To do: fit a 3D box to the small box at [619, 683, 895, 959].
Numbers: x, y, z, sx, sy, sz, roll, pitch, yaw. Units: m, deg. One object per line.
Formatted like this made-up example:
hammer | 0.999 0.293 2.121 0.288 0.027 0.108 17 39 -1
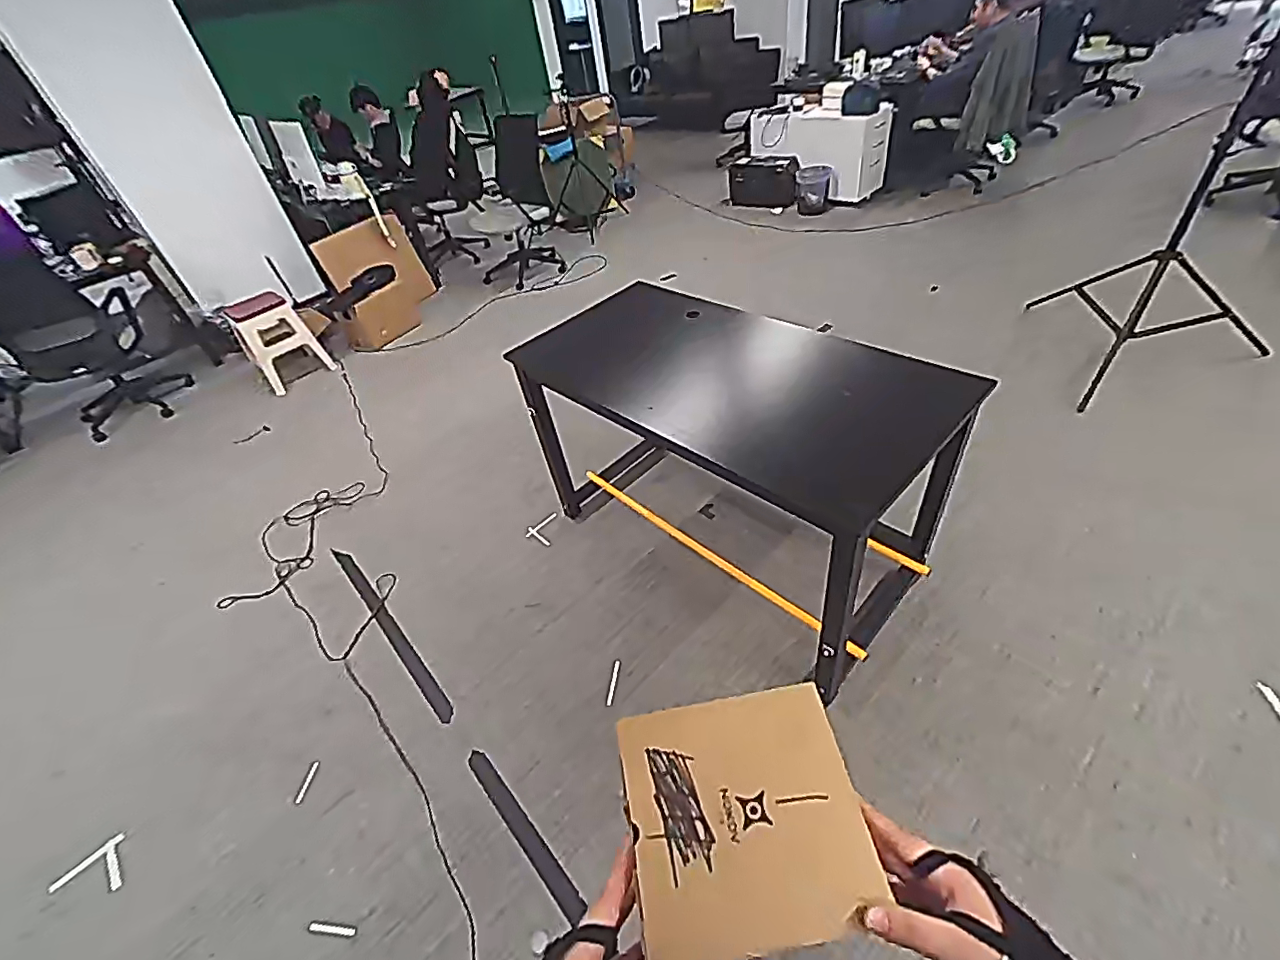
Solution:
small box | 0.084 0.301 0.475 0.179 0.176 0.168 -9 51 -4
